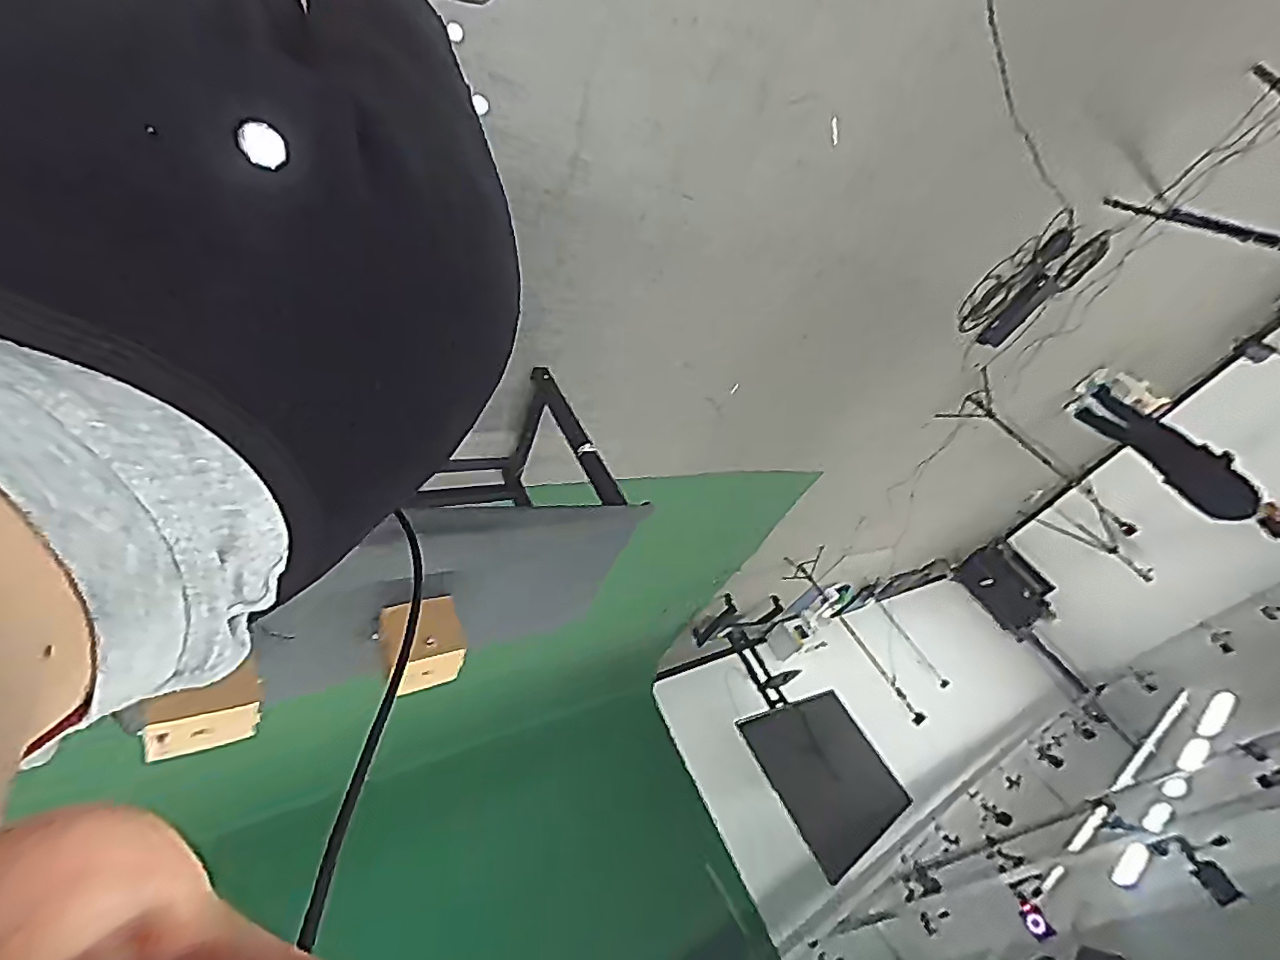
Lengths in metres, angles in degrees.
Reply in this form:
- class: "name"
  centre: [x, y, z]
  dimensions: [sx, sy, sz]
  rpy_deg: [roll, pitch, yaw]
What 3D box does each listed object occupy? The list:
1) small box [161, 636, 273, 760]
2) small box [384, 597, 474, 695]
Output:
- class: "small box"
  centre: [-0.902, 0.454, 1.150]
  dimensions: [0.179, 0.176, 0.168]
  rpy_deg: [-1, 136, -40]
- class: "small box"
  centre: [-0.554, 0.426, 1.412]
  dimensions: [0.179, 0.176, 0.168]
  rpy_deg: [-5, 138, -34]
